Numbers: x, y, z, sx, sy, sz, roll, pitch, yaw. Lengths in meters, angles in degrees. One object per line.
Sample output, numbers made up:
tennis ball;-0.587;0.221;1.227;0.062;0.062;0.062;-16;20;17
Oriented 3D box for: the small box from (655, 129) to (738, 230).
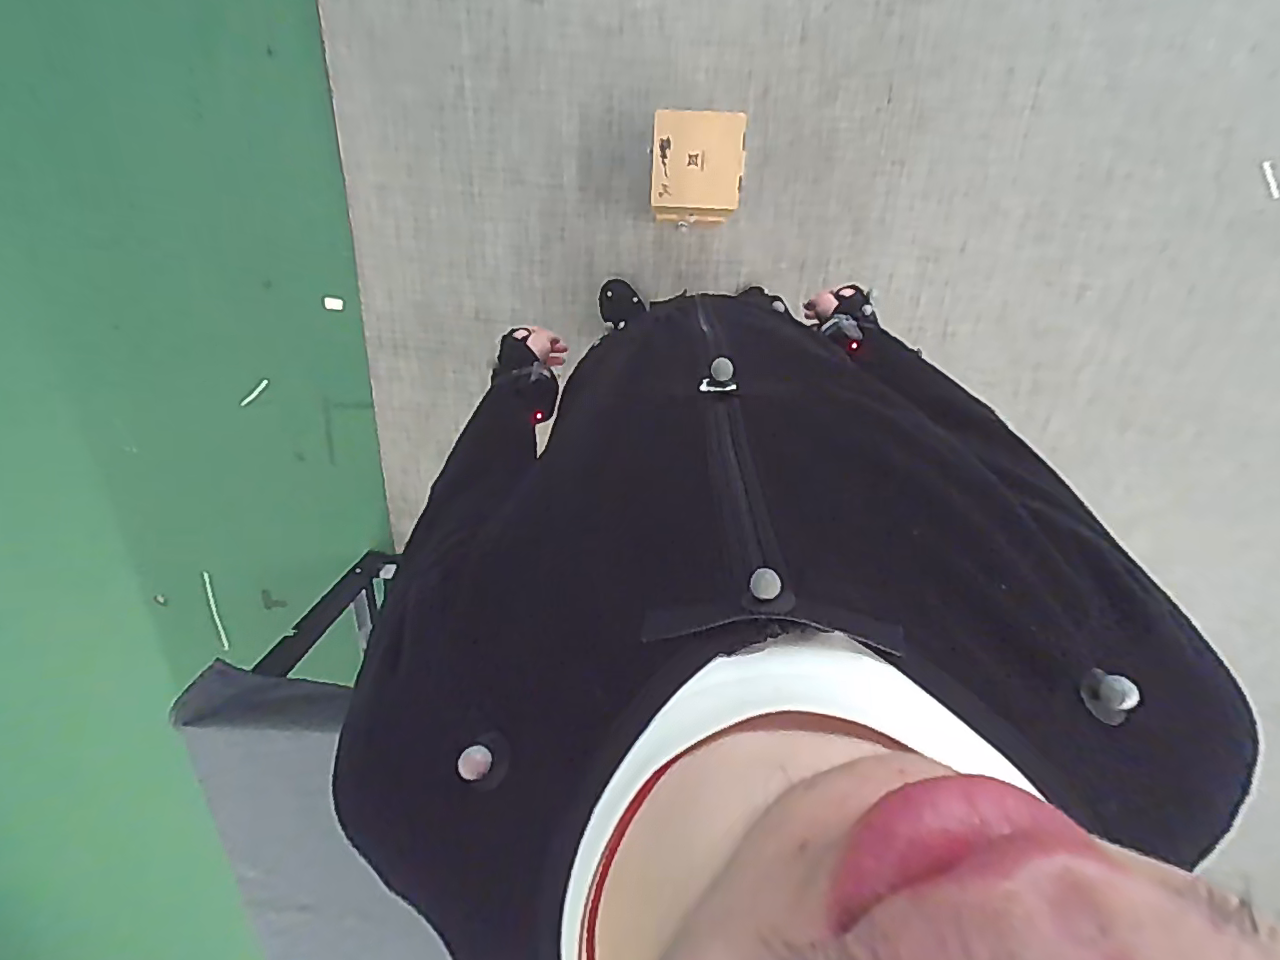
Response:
small box;0.125;-0.692;1.260;0.168;0.176;0.179;5;111;2
